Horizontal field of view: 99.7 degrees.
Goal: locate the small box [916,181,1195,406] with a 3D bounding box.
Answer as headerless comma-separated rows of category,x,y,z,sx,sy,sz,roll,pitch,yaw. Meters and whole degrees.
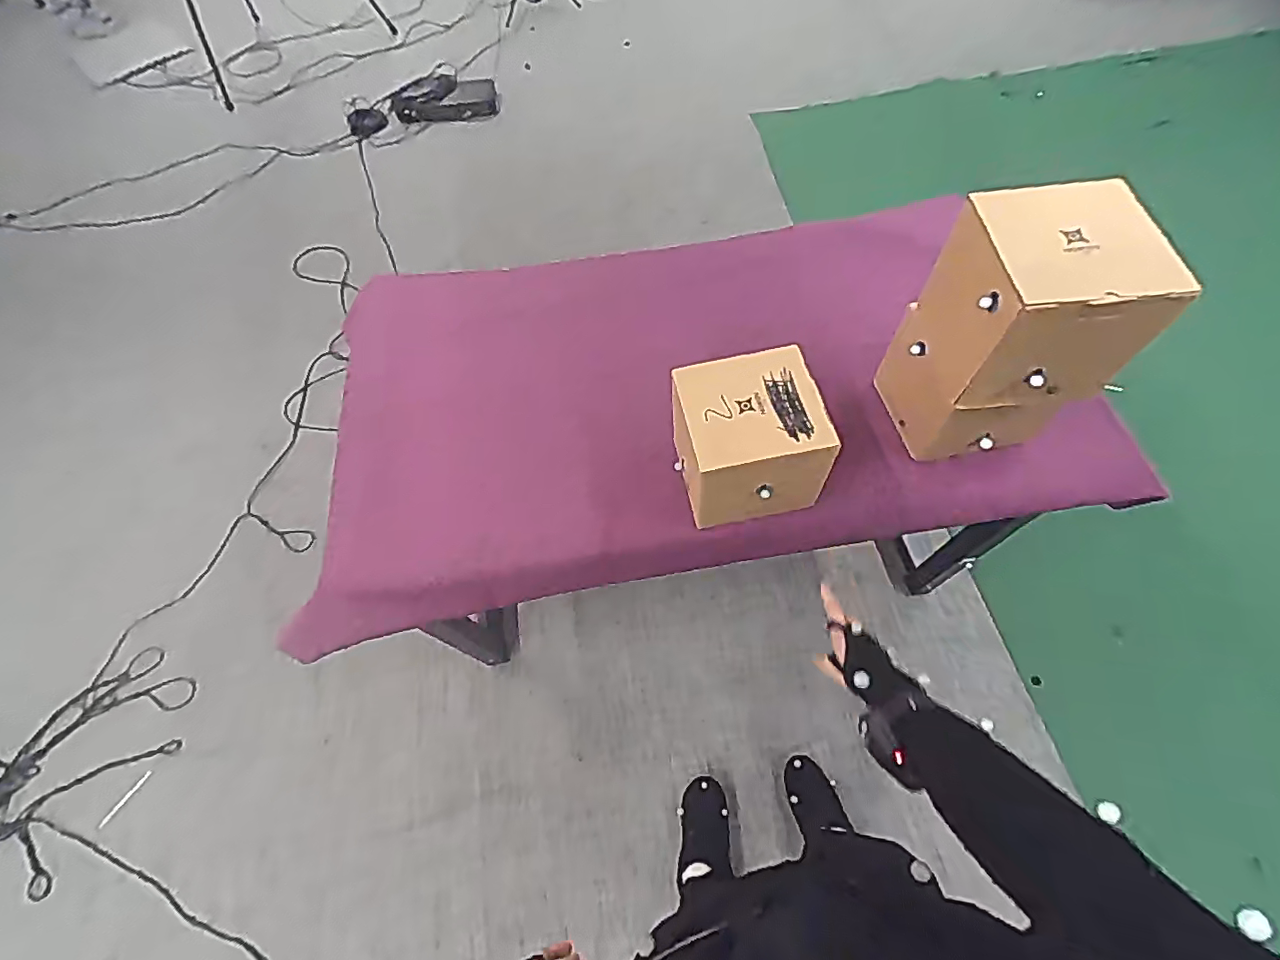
small box,0.447,-0.208,0.624,0.168,0.176,0.179,-4,61,4

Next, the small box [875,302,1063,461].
small box,0.471,-0.147,0.775,0.179,0.176,0.168,-11,59,-1
